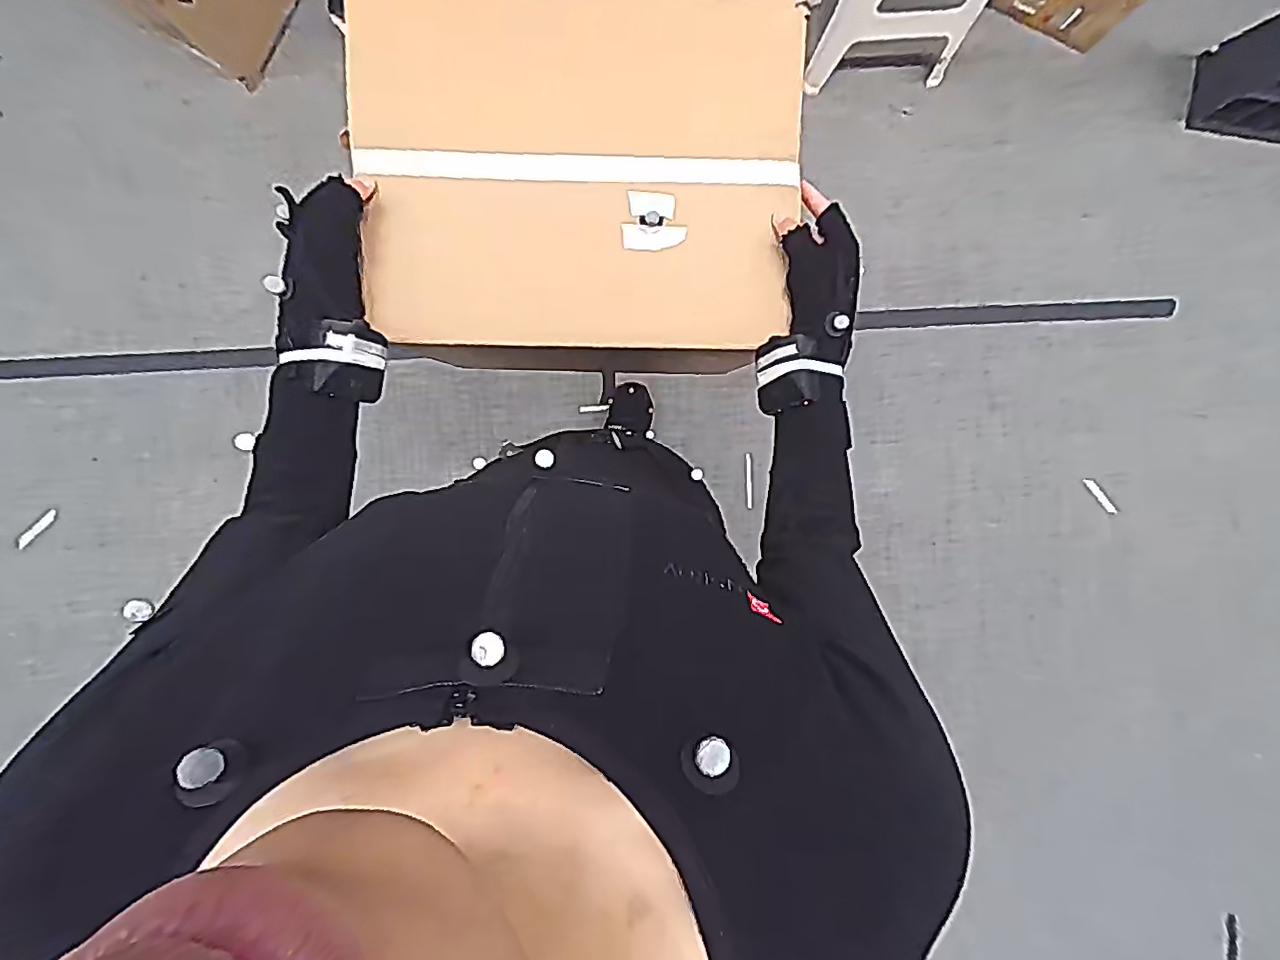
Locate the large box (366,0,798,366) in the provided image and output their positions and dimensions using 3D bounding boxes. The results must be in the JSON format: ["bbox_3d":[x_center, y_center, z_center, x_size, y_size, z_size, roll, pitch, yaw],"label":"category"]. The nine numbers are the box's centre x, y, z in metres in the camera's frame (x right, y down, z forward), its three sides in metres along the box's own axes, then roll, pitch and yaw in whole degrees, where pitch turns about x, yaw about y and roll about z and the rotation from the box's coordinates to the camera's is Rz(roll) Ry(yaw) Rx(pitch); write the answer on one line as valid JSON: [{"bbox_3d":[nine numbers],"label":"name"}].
[{"bbox_3d":[-0.058,-0.311,0.660,0.408,0.320,0.320,0,98,-3],"label":"large box"}]
